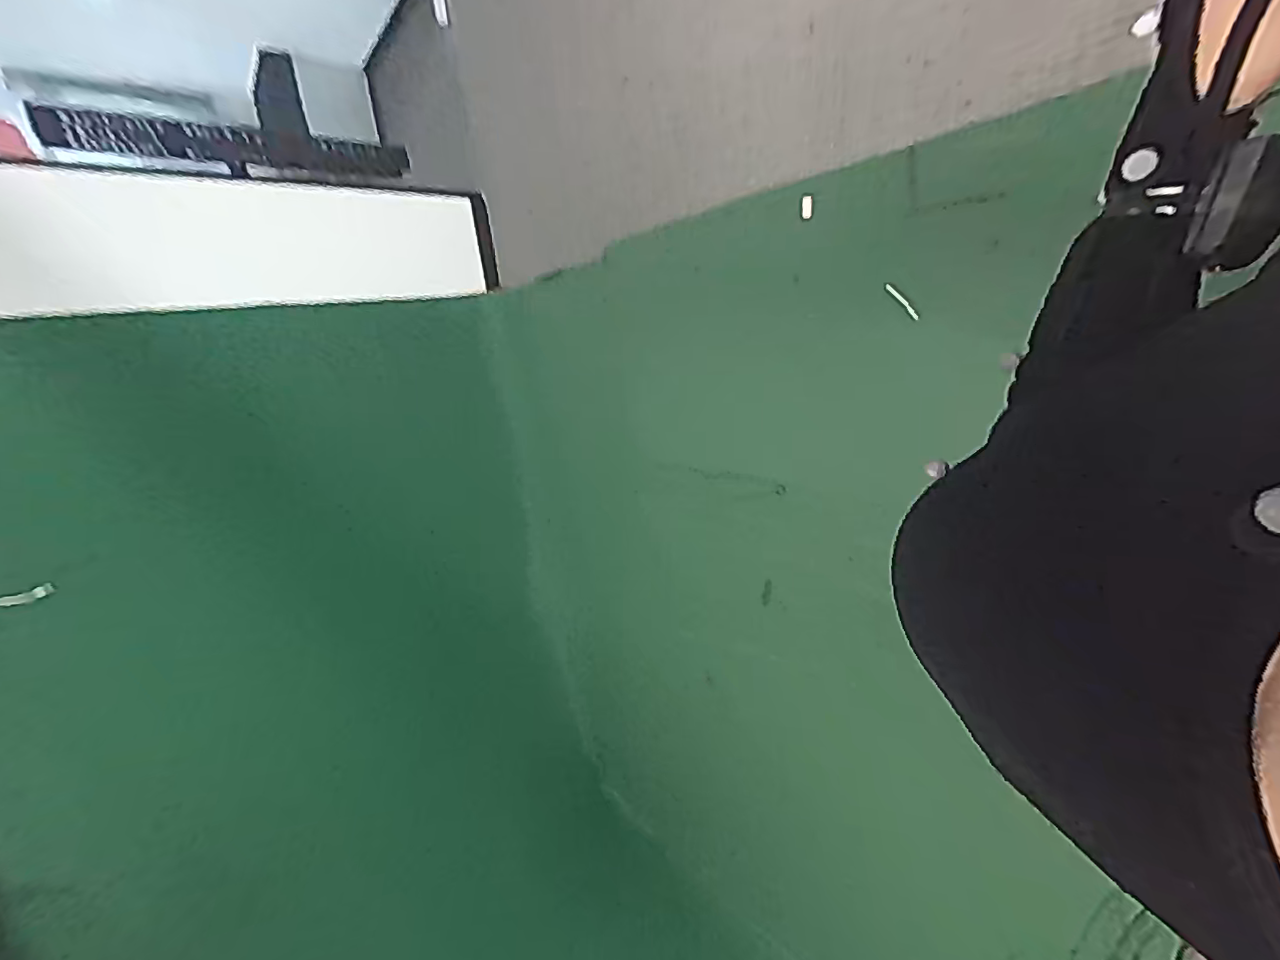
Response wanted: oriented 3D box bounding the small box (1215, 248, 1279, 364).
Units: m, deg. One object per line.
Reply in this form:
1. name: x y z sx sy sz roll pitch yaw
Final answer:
1. small box: 1.046 -0.259 0.824 0.179 0.176 0.168 51 136 41
